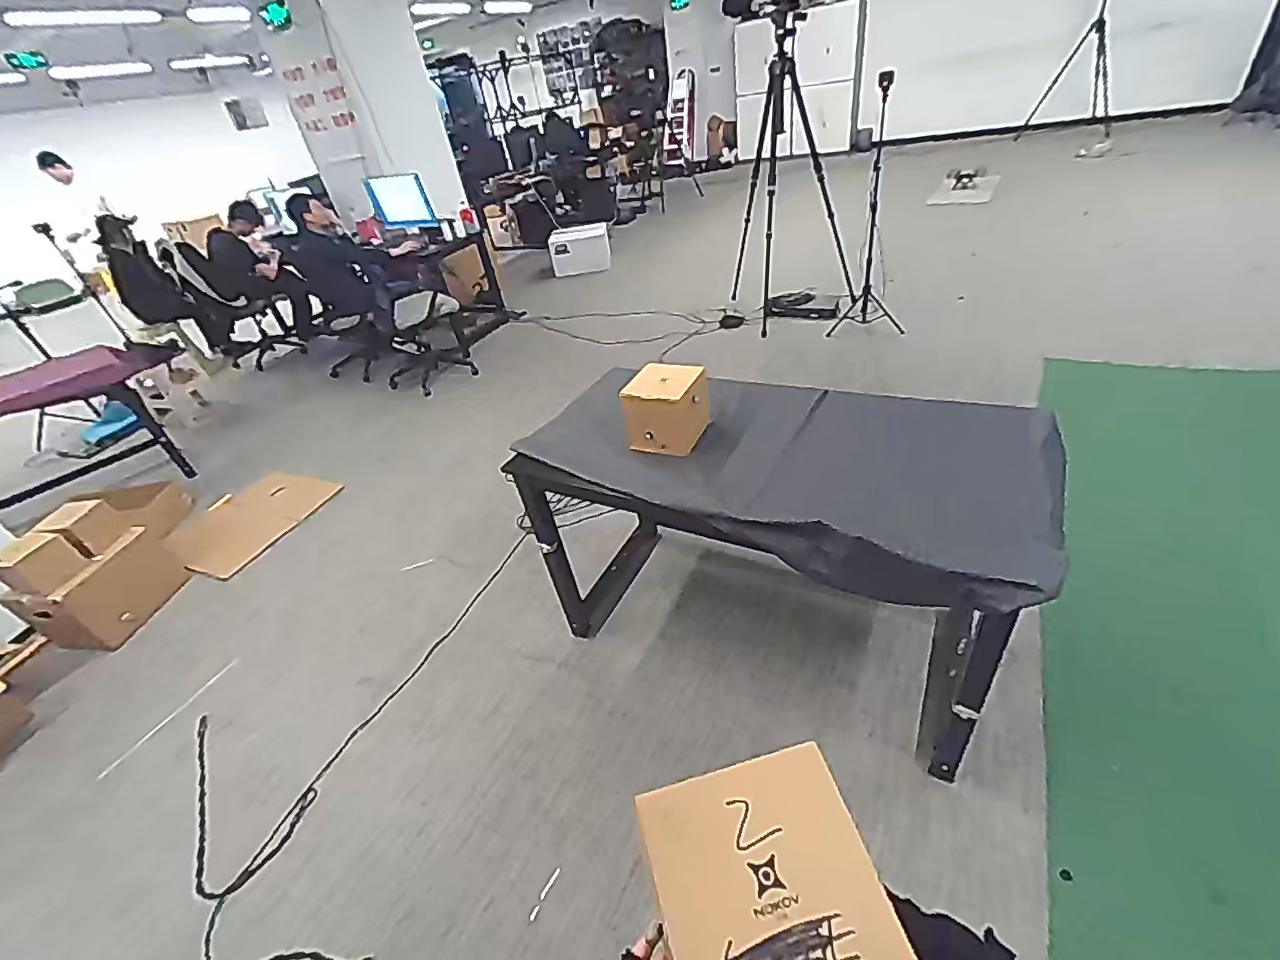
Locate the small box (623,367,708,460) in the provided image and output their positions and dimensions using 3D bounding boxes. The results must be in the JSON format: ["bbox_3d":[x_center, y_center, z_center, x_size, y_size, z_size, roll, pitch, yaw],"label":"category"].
[{"bbox_3d":[0.075,-0.177,1.421,0.168,0.176,0.179,11,42,26],"label":"small box"}]
